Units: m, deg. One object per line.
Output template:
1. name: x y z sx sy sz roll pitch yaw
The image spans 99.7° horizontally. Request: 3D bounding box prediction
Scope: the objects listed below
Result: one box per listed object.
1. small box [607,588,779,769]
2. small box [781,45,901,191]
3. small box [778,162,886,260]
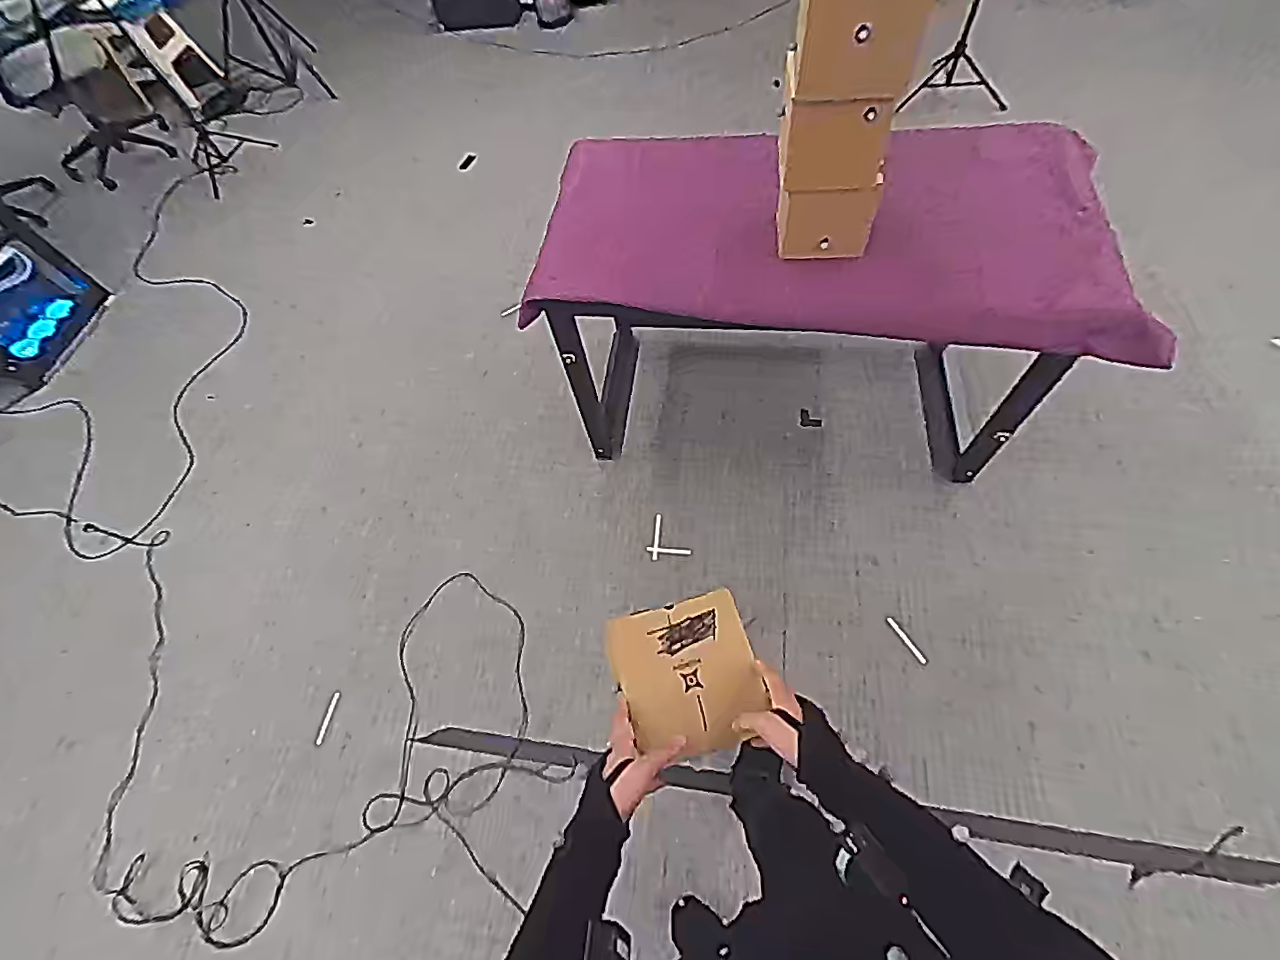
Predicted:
1. small box: 0.054 0.267 0.715 0.168 0.176 0.179 -13 64 -11
2. small box: 0.353 -0.654 0.989 0.179 0.176 0.168 2 61 8
3. small box: 0.391 -0.583 1.132 0.179 0.176 0.168 2 60 7
